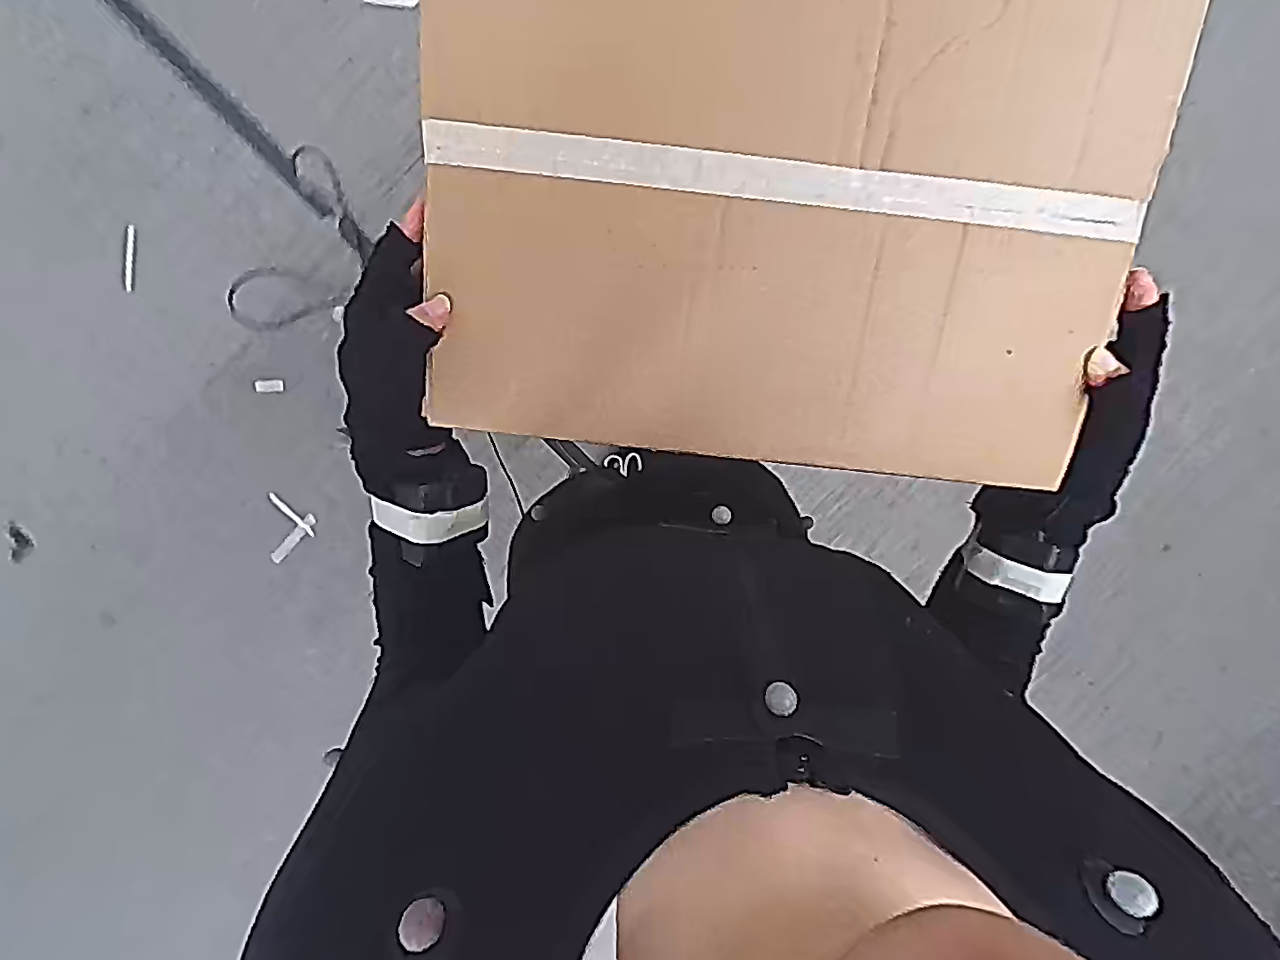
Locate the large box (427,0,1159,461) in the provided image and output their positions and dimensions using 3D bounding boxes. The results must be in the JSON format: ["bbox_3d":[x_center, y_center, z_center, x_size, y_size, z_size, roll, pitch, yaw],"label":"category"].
[{"bbox_3d":[0.074,-0.208,0.460,0.408,0.320,0.320,4,105,-2],"label":"large box"}]
